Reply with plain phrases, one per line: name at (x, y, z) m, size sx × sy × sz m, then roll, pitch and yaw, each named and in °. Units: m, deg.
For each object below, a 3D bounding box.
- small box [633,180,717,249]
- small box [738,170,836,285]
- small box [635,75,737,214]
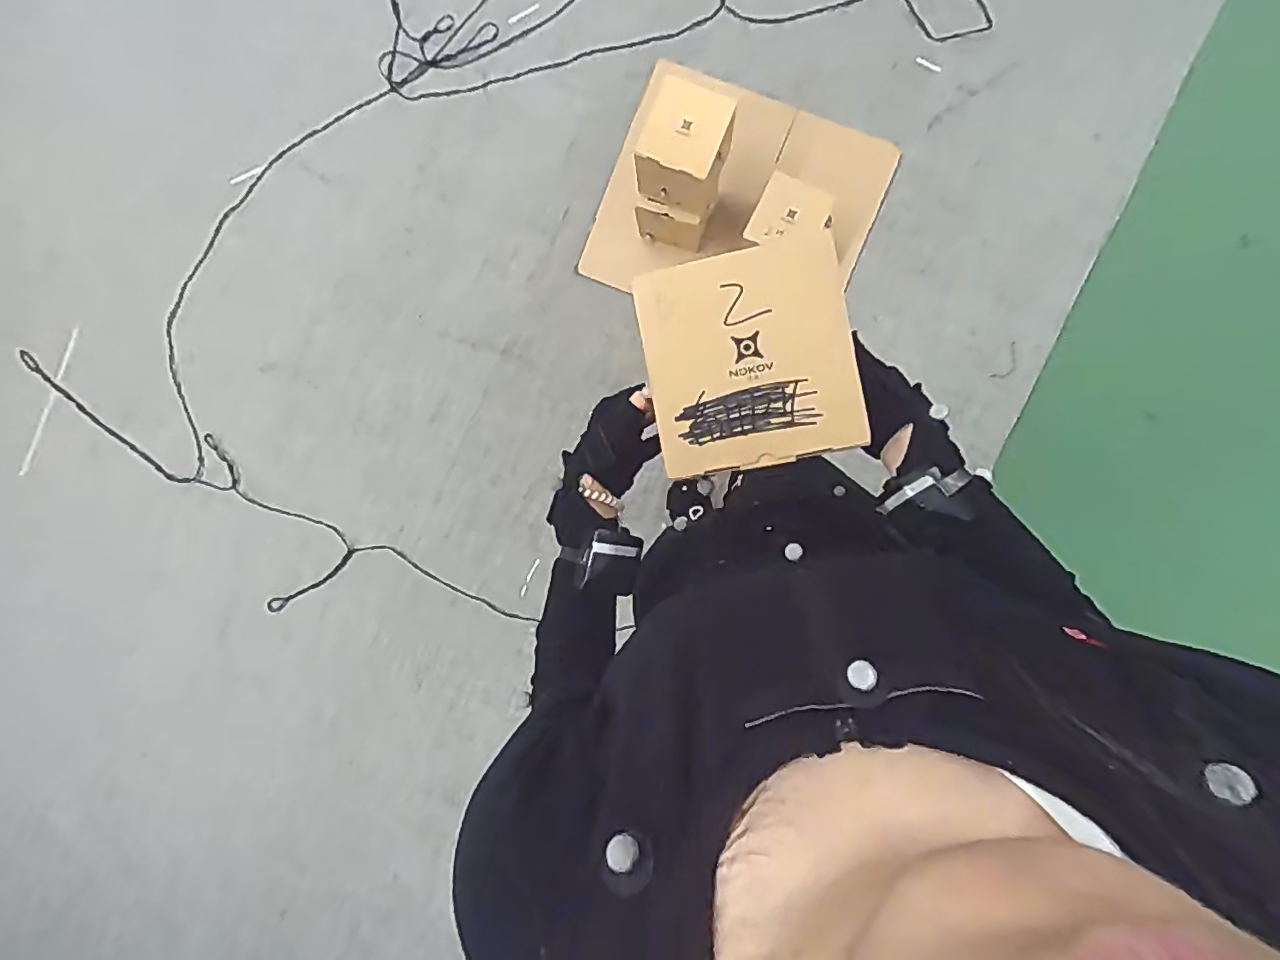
small box at (0.095, -0.717, 1.372) m, size 0.168 × 0.176 × 0.179 m, roll 20°, pitch 92°, yaw 3°
small box at (0.358, -0.626, 1.359) m, size 0.168 × 0.176 × 0.179 m, roll 27°, pitch 94°, yaw 4°
small box at (0.099, -0.738, 1.208) m, size 0.168 × 0.176 × 0.179 m, roll 23°, pitch 93°, yaw 3°
